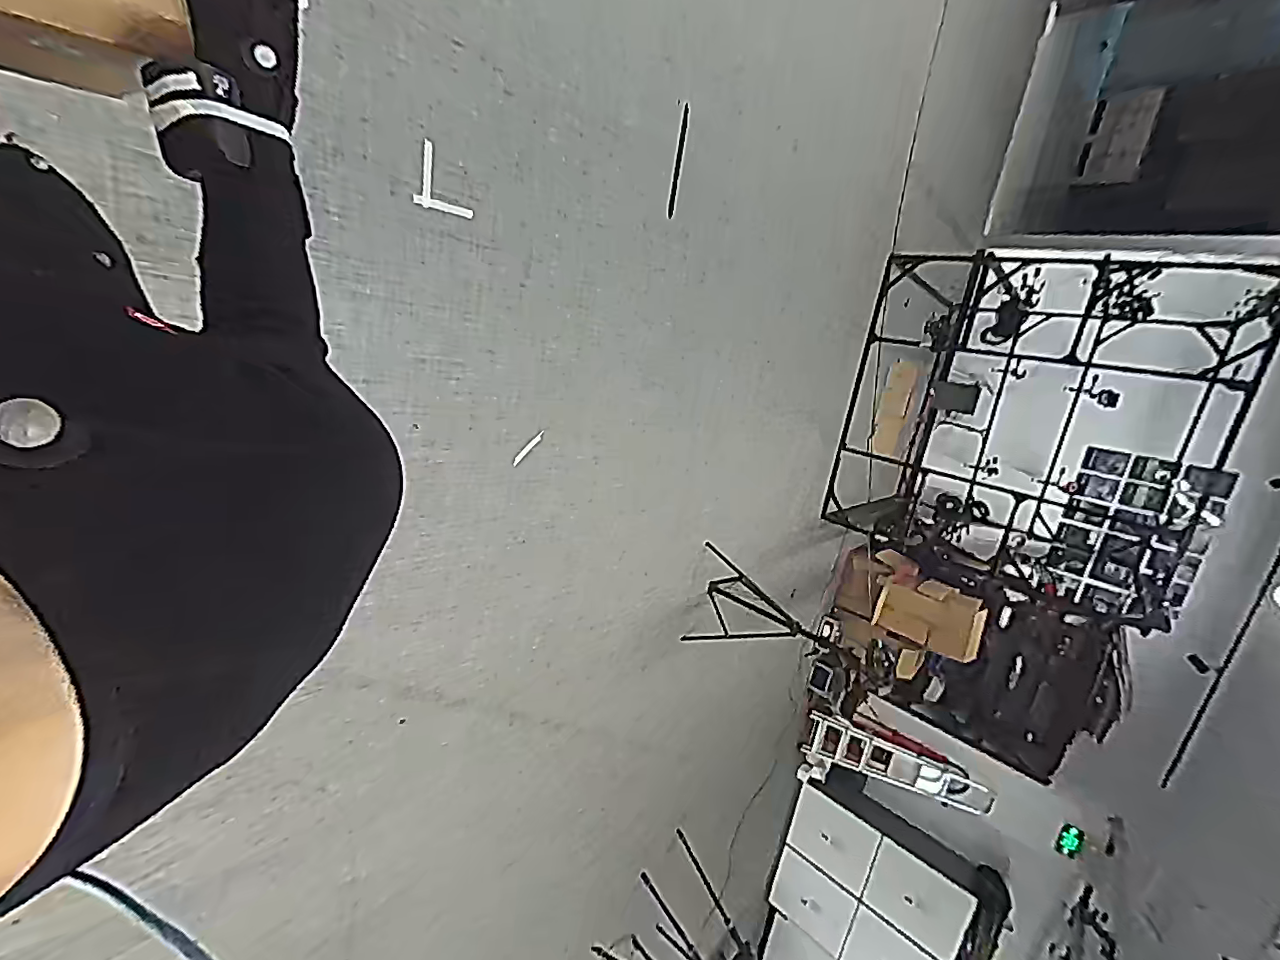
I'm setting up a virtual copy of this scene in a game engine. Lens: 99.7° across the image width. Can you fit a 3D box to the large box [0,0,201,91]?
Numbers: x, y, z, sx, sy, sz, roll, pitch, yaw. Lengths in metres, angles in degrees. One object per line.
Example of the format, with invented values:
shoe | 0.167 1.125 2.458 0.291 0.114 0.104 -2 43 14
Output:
large box | -0.546 -0.462 0.286 0.408 0.320 0.320 -16 122 -49
